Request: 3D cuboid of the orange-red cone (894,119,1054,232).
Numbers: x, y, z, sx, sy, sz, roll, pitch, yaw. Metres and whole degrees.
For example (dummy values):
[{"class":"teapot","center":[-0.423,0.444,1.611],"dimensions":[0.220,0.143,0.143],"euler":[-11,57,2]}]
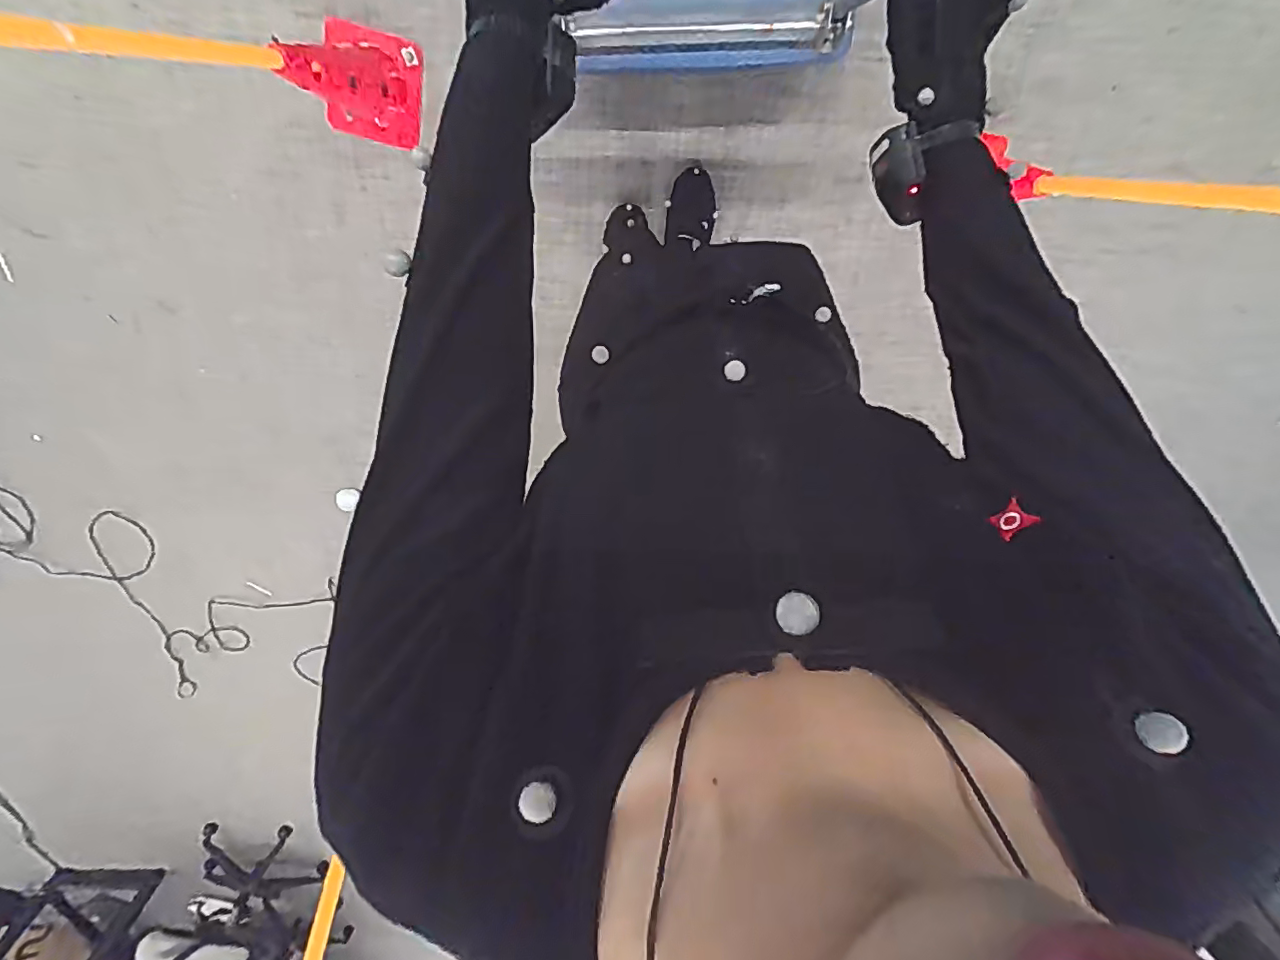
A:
[{"class":"orange-red cone","center":[0.700,-0.599,1.081],"dimensions":[0.198,0.360,0.199],"euler":[12,121,-5]}]
